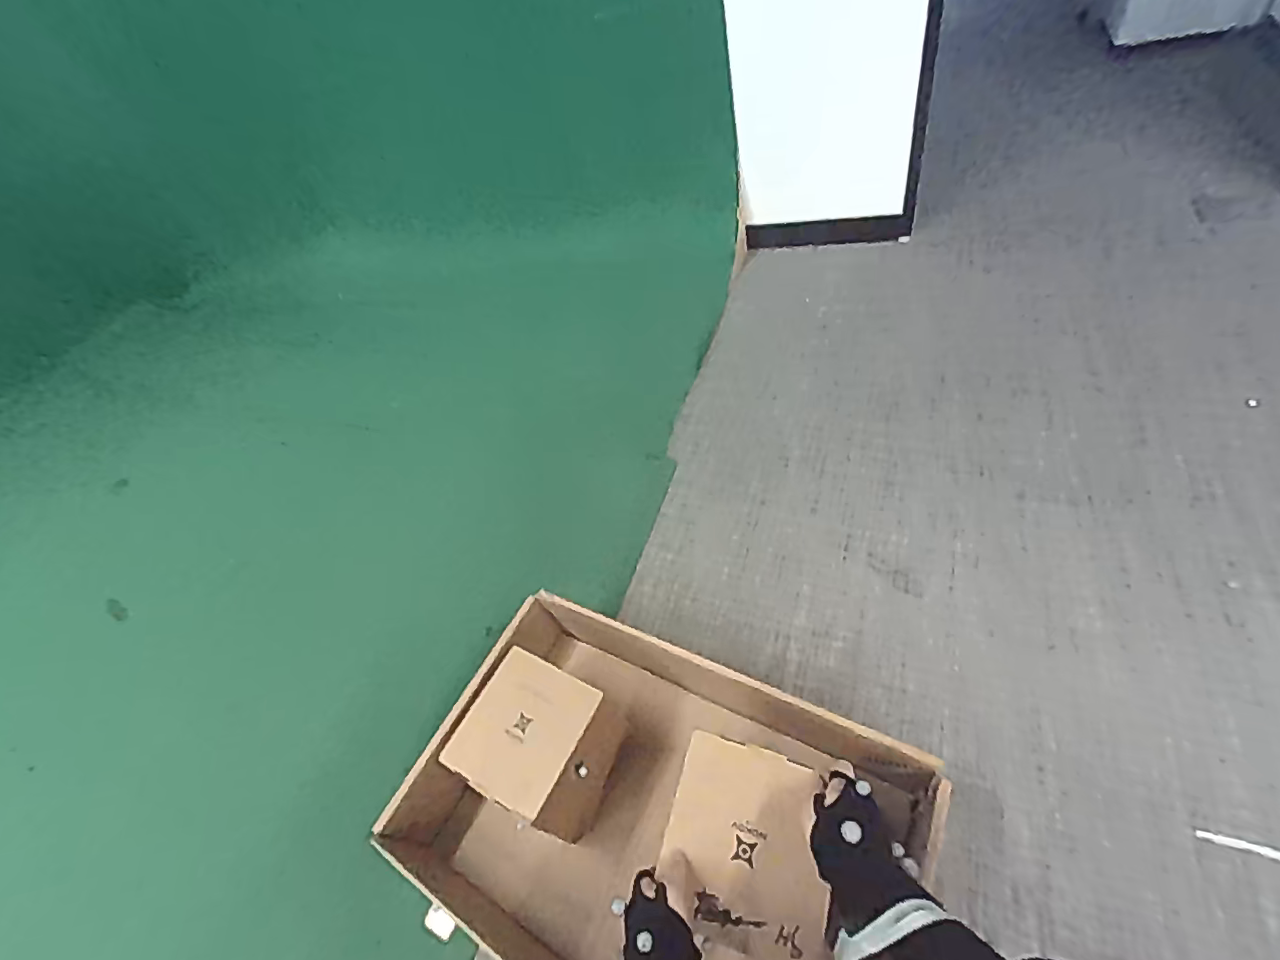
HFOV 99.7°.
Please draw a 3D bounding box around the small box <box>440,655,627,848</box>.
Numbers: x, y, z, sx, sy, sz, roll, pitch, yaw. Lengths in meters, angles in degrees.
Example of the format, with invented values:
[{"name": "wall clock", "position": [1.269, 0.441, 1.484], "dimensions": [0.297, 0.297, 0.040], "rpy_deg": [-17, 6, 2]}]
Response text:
[{"name": "small box", "position": [-0.138, 0.388, 0.770], "dimensions": [0.168, 0.176, 0.179], "rpy_deg": [17, 58, 28]}]
